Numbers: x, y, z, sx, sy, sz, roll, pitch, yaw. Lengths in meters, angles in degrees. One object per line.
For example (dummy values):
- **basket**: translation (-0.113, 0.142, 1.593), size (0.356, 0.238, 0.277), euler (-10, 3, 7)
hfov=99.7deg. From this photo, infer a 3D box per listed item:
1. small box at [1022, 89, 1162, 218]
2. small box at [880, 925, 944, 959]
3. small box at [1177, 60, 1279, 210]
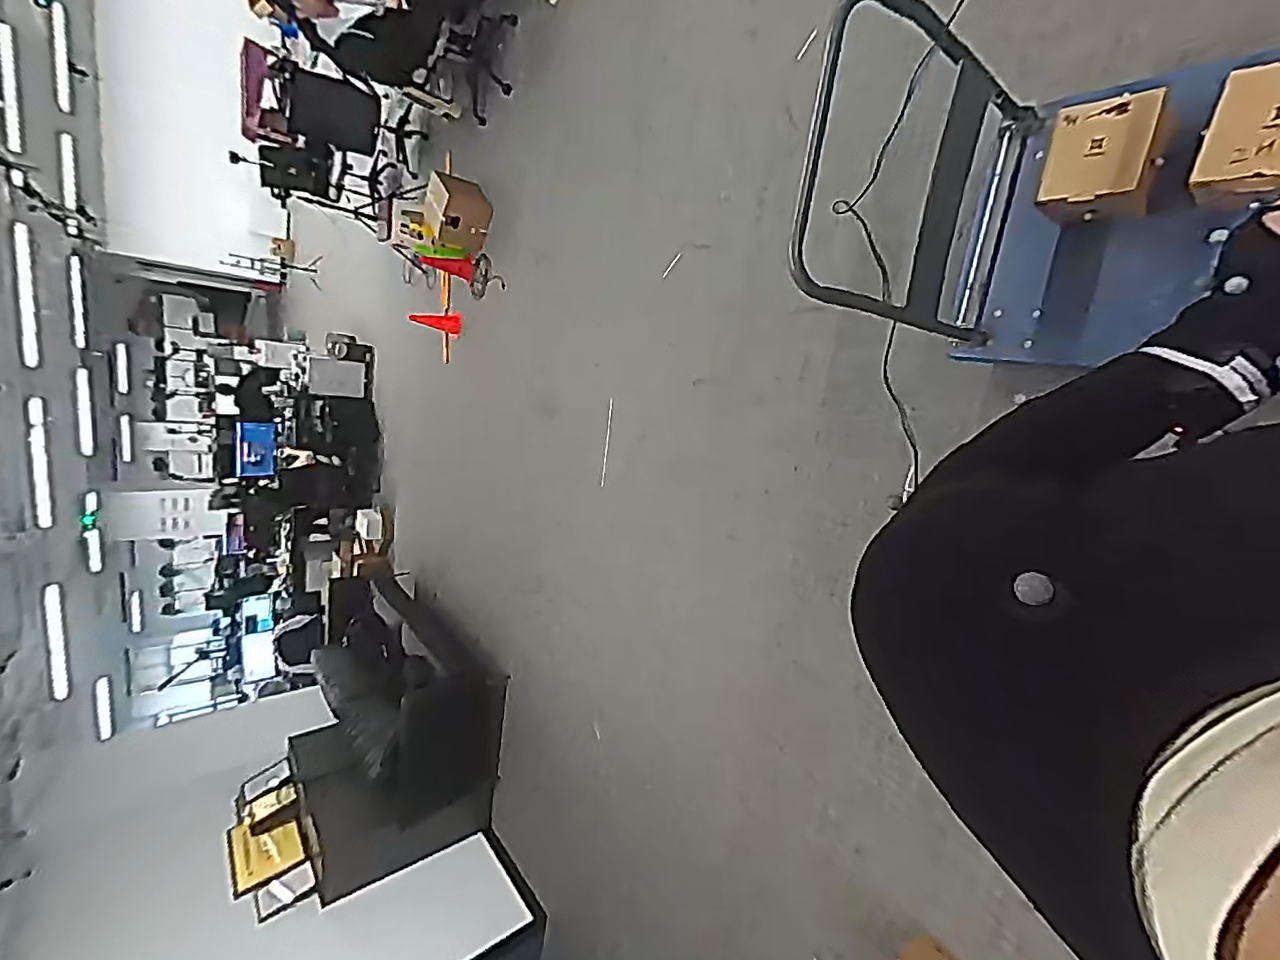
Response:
- **small box**: translation (0.914, -0.641, 1.092), size (0.168, 0.176, 0.179), euler (23, 109, 46)
- **small box**: translation (0.794, 1.467, 1.575), size (0.168, 0.176, 0.179), euler (27, 112, 45)
- **small box**: translation (1.066, -0.582, 0.921), size (0.168, 0.176, 0.179), euler (26, 111, 46)
